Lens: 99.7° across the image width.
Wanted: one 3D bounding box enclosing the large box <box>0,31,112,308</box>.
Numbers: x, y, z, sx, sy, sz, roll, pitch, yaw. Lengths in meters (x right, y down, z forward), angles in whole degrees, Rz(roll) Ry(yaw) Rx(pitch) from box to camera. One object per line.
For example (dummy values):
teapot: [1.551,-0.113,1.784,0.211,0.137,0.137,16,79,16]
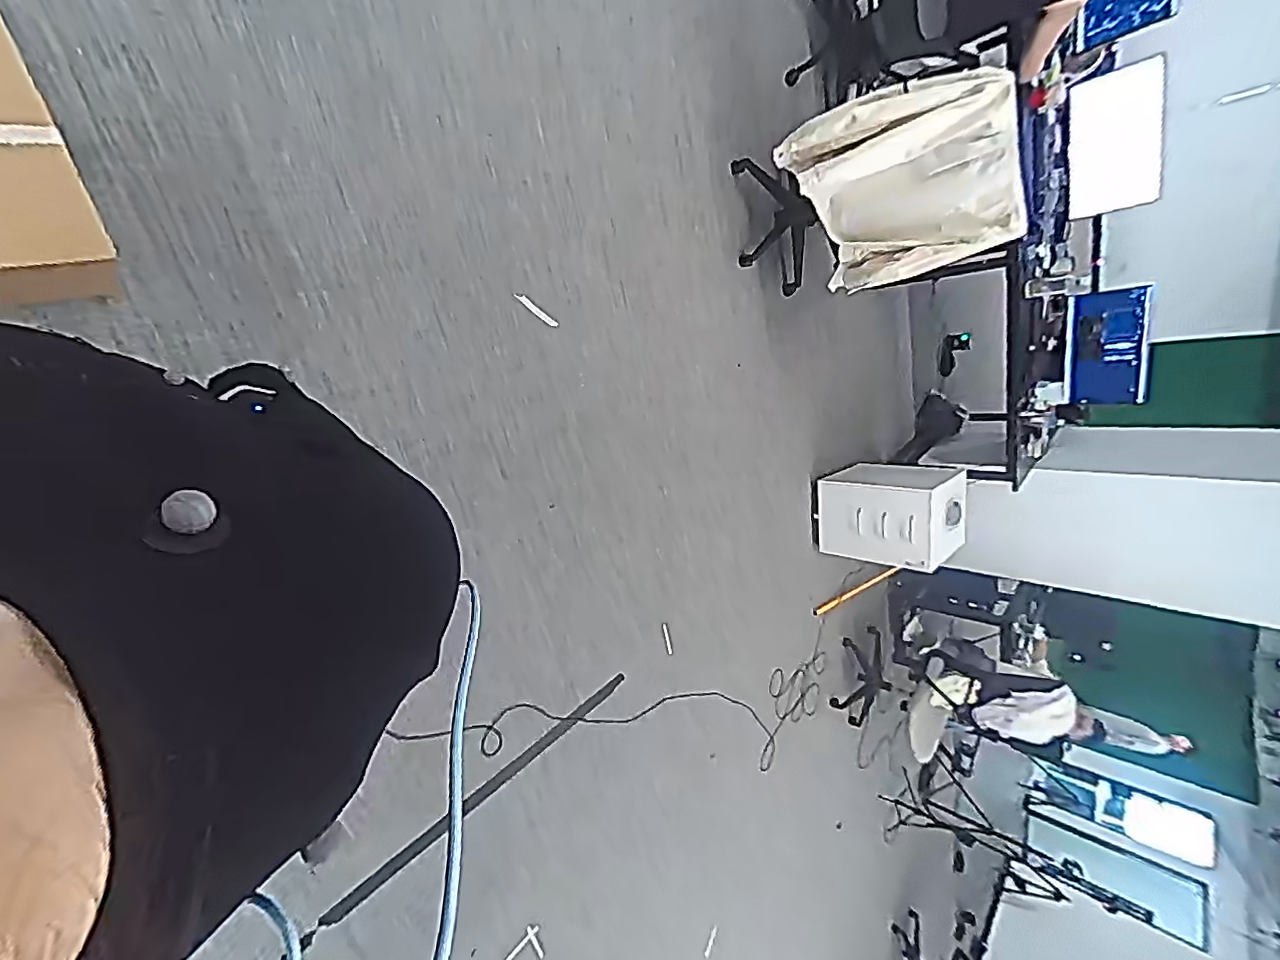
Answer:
large box: [-1.038,-0.396,0.718,0.408,0.320,0.320,-29,115,-39]
